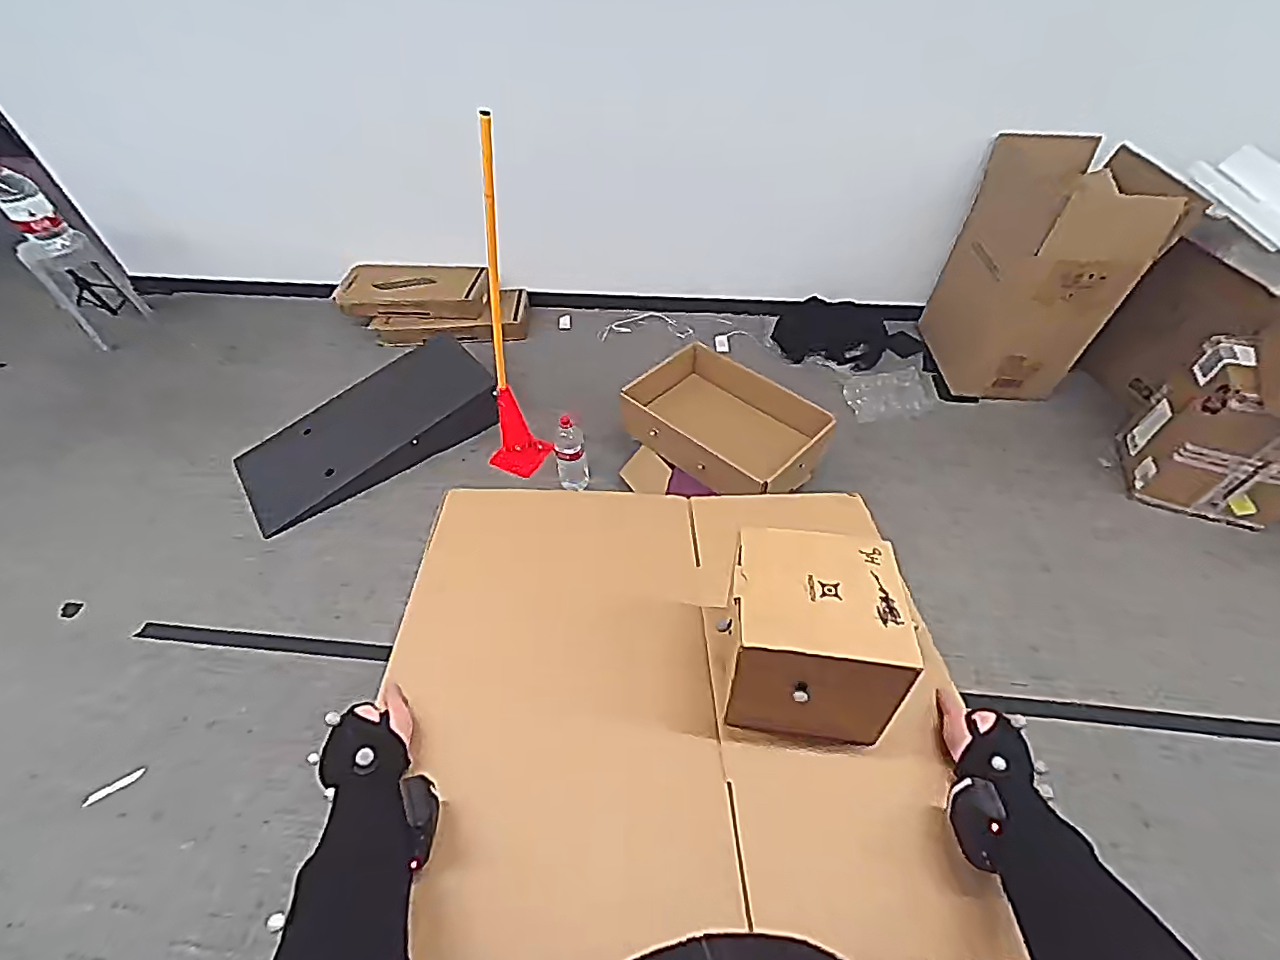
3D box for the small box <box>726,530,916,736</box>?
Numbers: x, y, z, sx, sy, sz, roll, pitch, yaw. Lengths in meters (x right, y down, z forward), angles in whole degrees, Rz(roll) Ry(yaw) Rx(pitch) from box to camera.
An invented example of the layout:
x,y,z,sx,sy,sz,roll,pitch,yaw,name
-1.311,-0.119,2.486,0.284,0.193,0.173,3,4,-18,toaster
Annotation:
x,y,z,sx,sy,sz,roll,pitch,yaw,name
0.195,0.181,0.639,0.179,0.176,0.168,4,42,7,small box
